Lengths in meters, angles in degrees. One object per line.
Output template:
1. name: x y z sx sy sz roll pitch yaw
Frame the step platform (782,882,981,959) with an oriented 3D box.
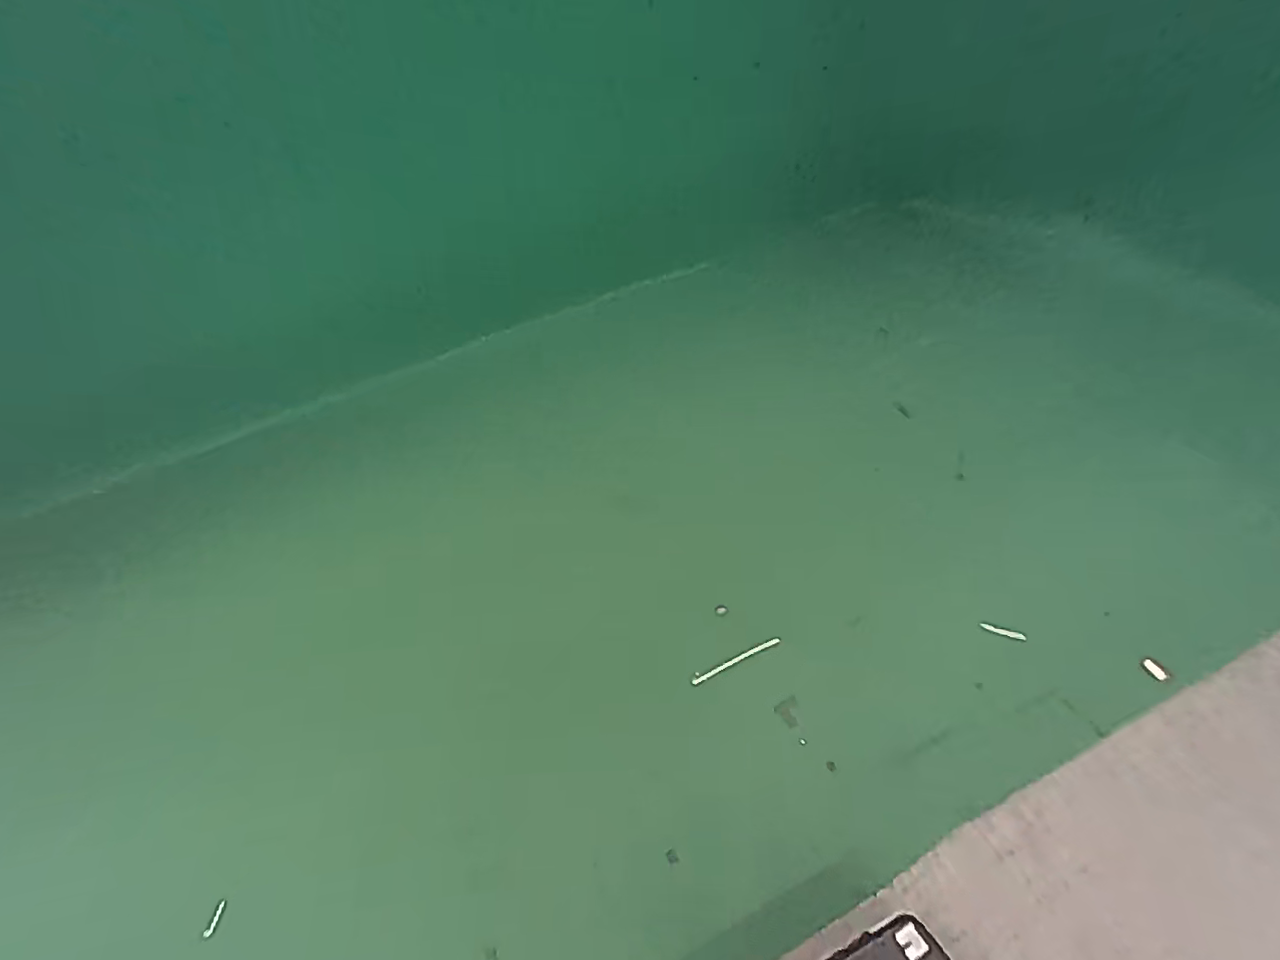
1. step platform: 0.295 1.011 0.921 0.684 0.204 0.286 -25 49 -10
